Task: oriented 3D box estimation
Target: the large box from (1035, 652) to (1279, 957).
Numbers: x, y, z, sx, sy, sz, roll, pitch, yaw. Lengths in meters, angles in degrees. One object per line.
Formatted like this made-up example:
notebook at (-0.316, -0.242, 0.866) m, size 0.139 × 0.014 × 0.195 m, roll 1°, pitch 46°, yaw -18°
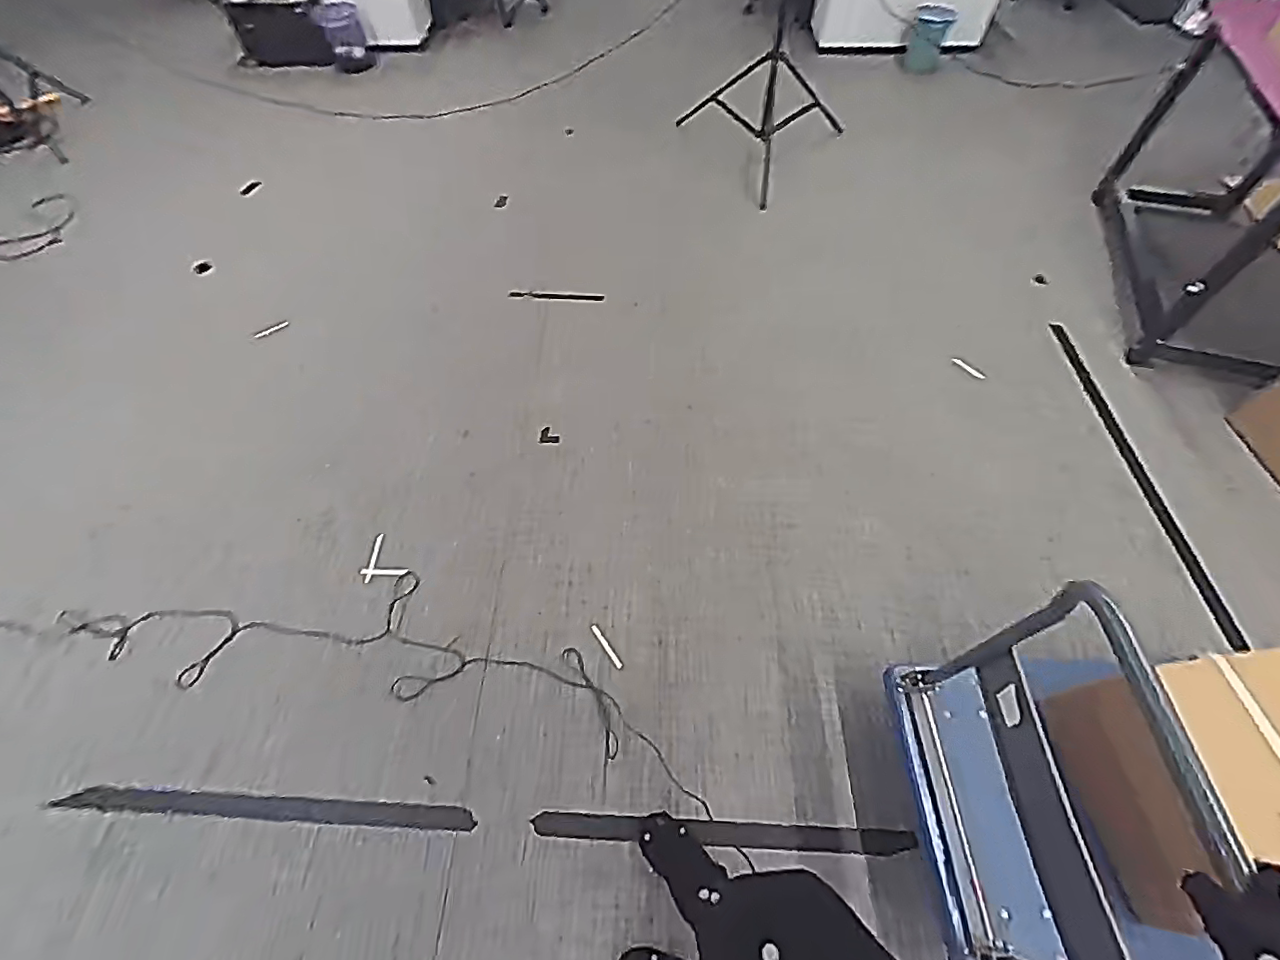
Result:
large box at (1.057, 0.574, 0.998) m, size 0.320 × 0.320 × 0.408 m, roll -7°, pitch 58°, yaw -3°
